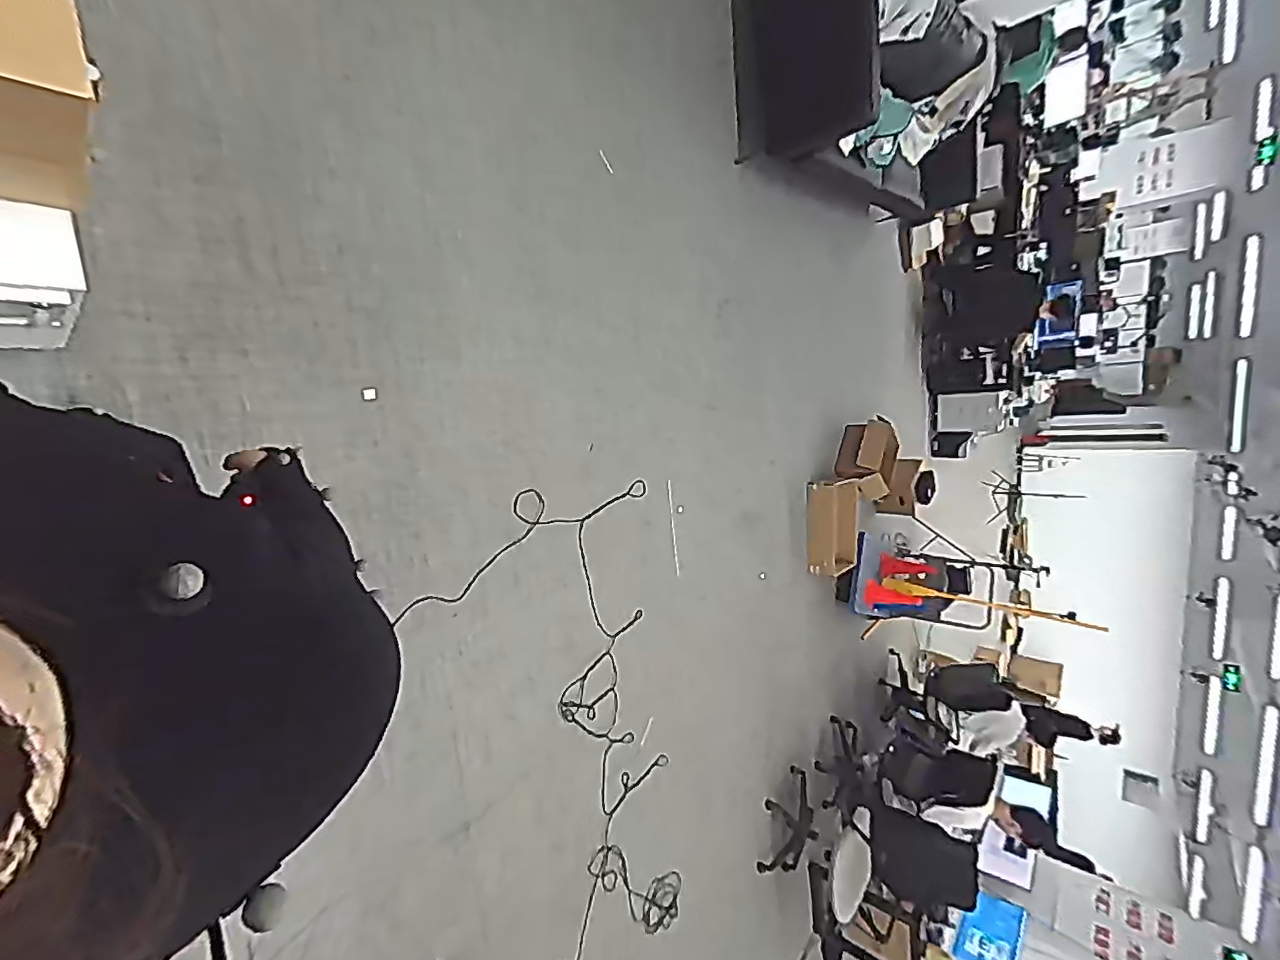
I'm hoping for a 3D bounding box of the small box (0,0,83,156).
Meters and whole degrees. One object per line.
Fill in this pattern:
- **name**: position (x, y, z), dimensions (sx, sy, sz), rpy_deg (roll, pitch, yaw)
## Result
- **small box**: position (-0.564, -0.379, 0.411), dimensions (0.179, 0.176, 0.168), rpy_deg (-13, 101, -48)
